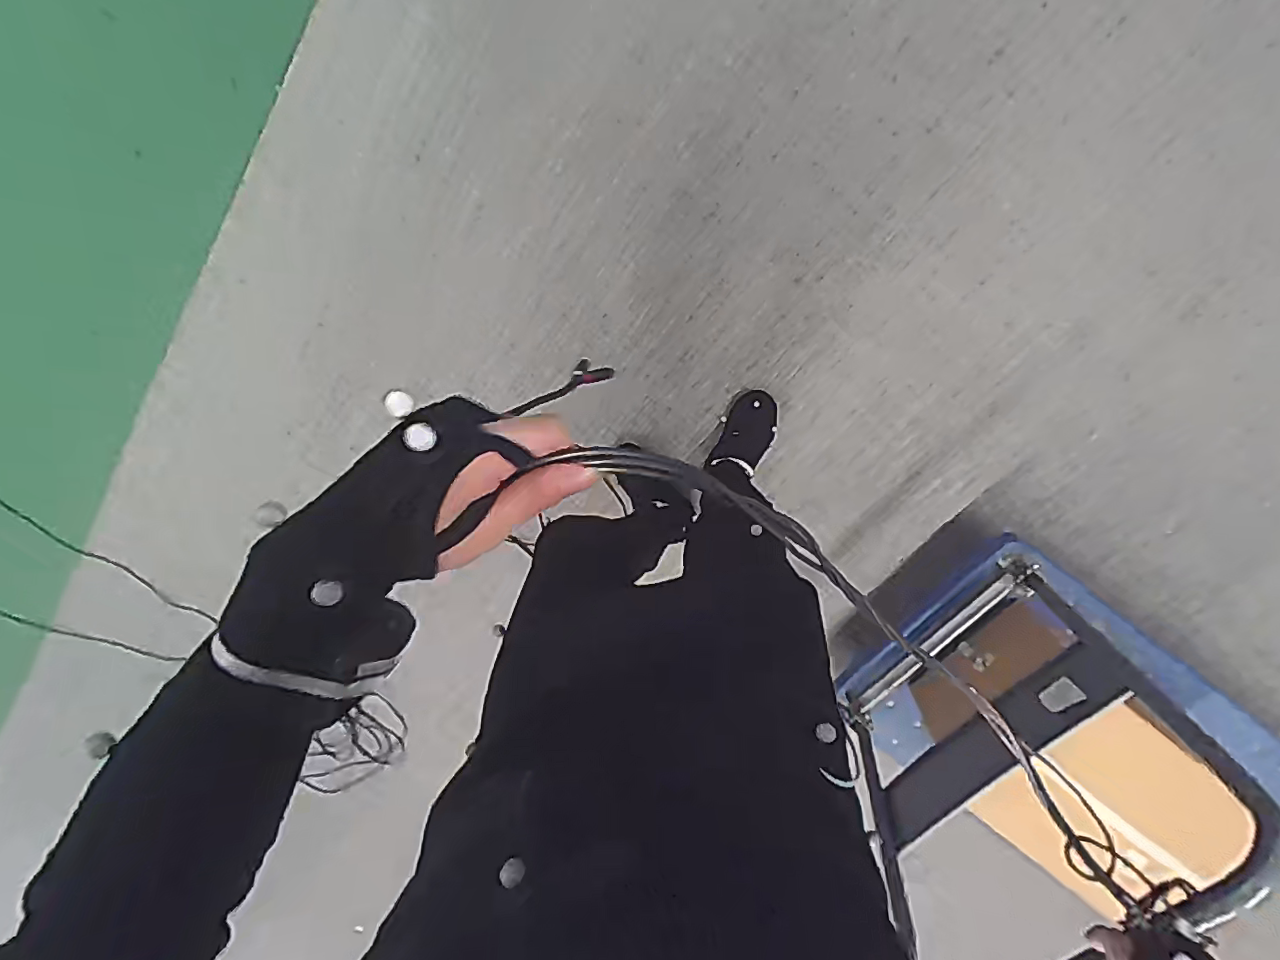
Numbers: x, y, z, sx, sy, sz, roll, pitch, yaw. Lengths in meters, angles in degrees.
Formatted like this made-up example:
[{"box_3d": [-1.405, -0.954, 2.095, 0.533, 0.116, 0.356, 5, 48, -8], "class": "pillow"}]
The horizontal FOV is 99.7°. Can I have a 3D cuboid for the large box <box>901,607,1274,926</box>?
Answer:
[{"box_3d": [0.812, 0.533, 1.060, 0.408, 0.320, 0.320, 38, 110, -3], "class": "large box"}]
